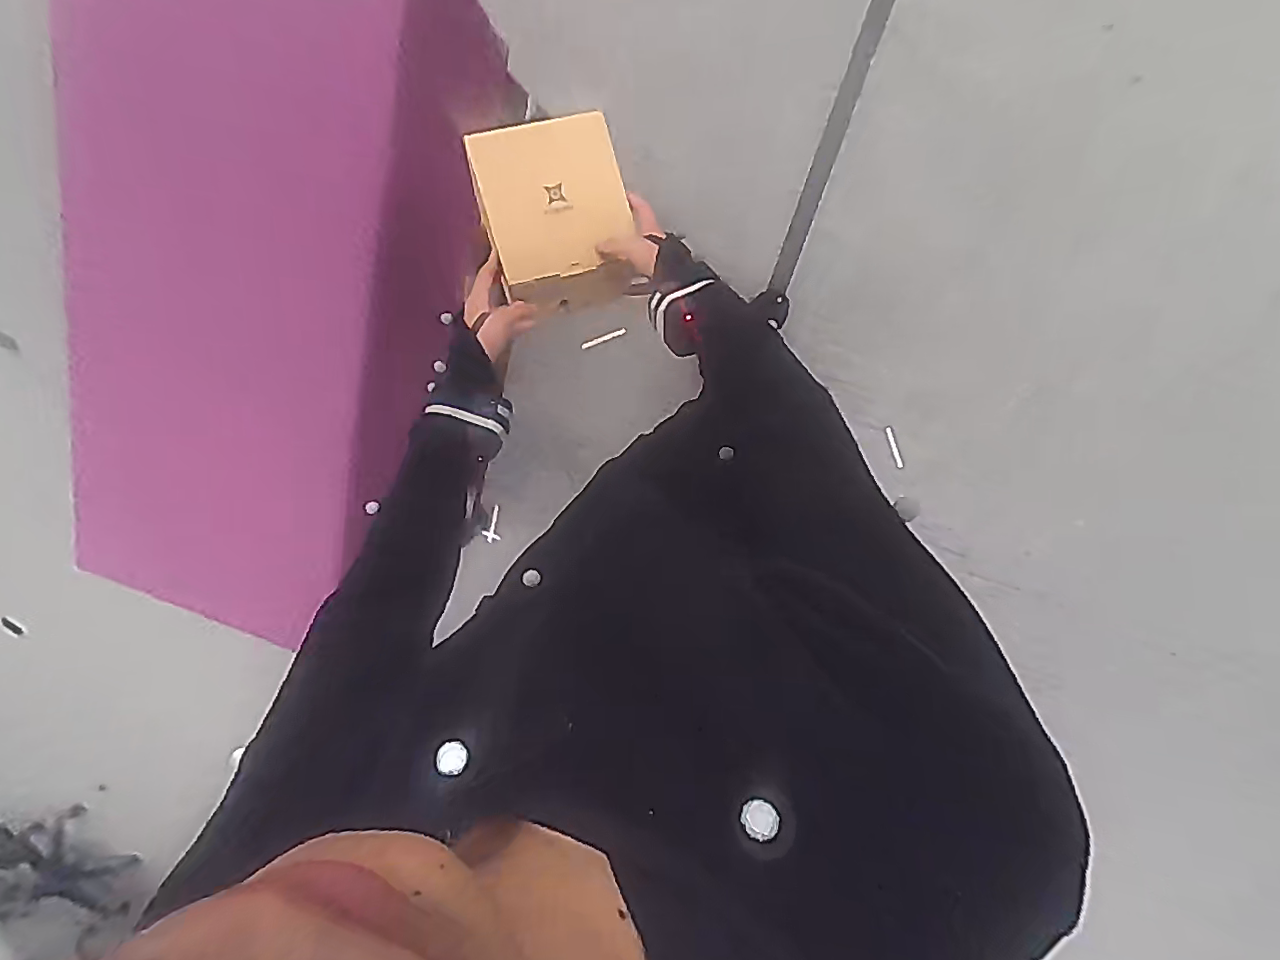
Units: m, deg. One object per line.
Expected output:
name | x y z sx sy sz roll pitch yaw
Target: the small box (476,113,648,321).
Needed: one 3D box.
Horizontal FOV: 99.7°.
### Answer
small box | -0.103 -0.329 0.705 0.168 0.176 0.179 -16 94 -9
